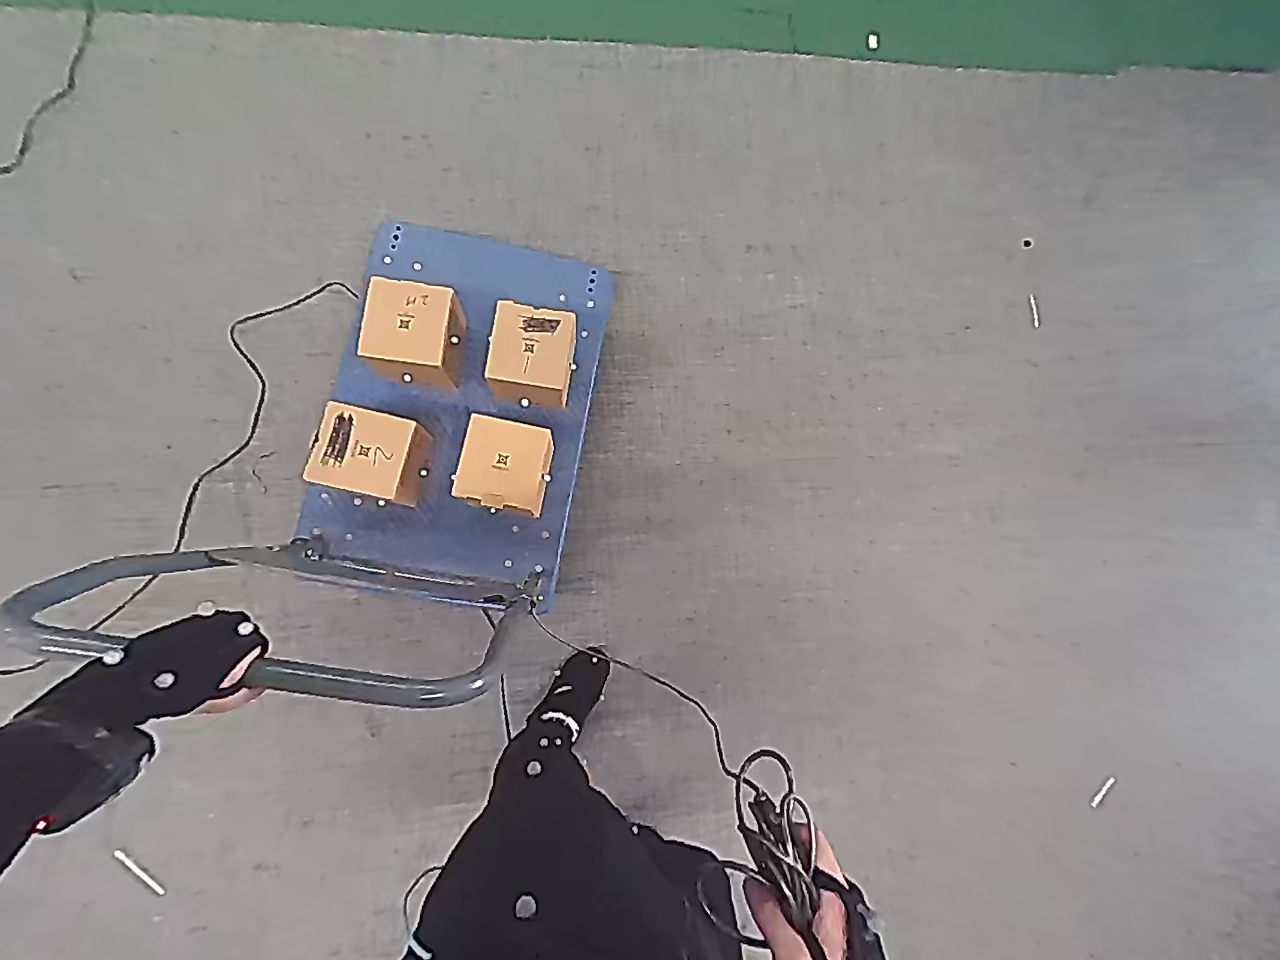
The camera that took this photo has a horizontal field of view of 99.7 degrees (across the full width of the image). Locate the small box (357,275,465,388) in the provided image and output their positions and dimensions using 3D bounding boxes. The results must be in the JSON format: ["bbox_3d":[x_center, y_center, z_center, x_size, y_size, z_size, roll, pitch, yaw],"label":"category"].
[{"bbox_3d":[-0.489,-0.314,1.182,0.168,0.176,0.179,8,81,-7],"label":"small box"}]

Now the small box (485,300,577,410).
[{"bbox_3d":[-0.238,-0.272,1.208,0.168,0.176,0.179,9,82,-5],"label":"small box"}]

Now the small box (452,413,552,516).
[{"bbox_3d":[-0.289,-0.025,1.169,0.168,0.176,0.179,12,82,-6],"label":"small box"}]
